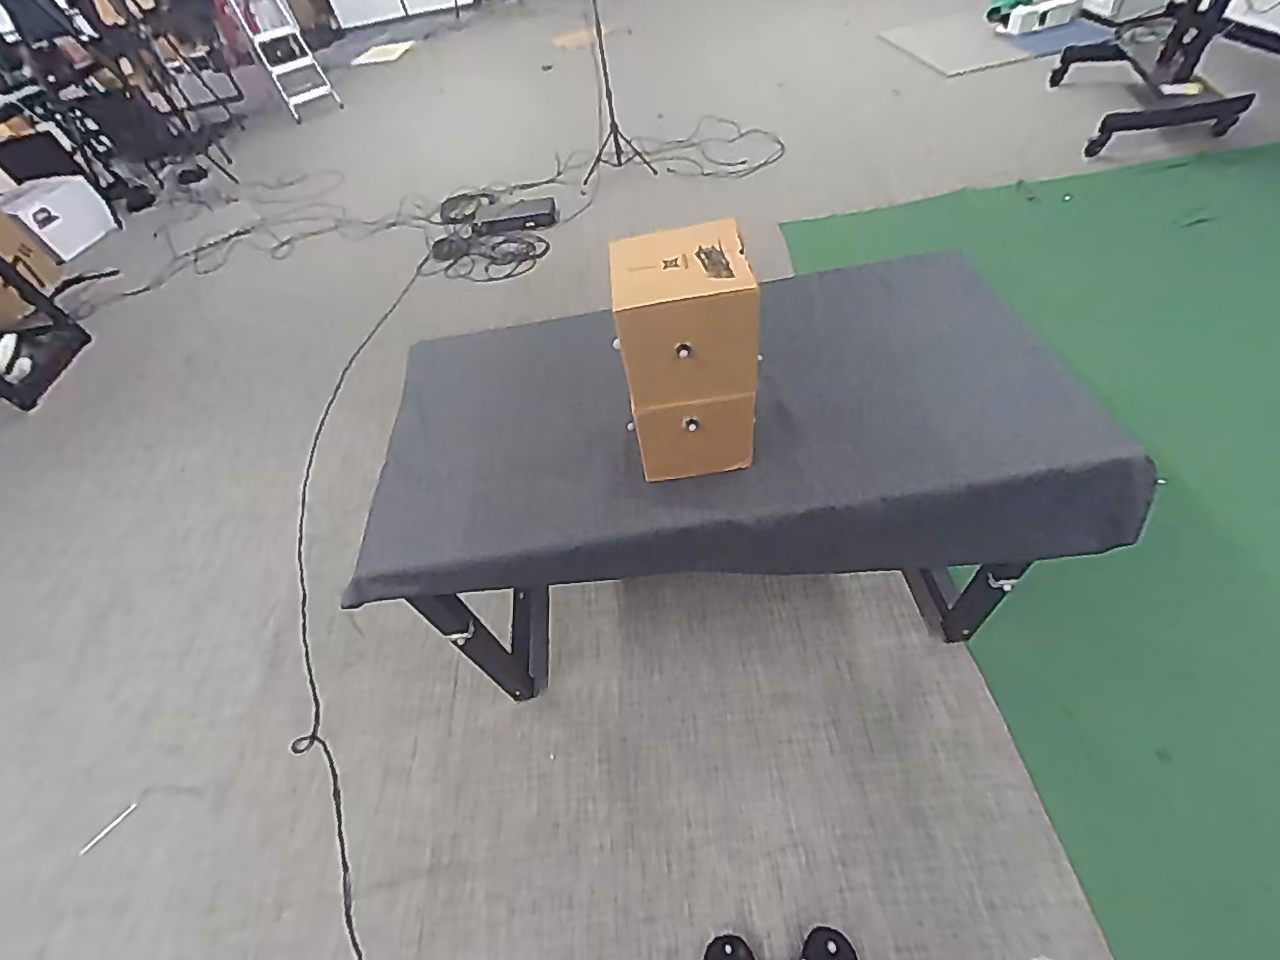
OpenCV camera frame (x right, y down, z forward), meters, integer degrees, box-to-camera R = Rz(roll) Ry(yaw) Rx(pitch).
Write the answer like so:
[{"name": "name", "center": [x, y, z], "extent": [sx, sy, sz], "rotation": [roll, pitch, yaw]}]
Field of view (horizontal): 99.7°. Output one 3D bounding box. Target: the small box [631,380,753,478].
[{"name": "small box", "center": [0.079, -0.118, 0.875], "extent": [0.179, 0.176, 0.168], "rotation": [-8, 52, 2]}]

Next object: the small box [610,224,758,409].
[{"name": "small box", "center": [0.060, -0.220, 0.748], "extent": [0.179, 0.176, 0.168], "rotation": [-8, 52, 5]}]
